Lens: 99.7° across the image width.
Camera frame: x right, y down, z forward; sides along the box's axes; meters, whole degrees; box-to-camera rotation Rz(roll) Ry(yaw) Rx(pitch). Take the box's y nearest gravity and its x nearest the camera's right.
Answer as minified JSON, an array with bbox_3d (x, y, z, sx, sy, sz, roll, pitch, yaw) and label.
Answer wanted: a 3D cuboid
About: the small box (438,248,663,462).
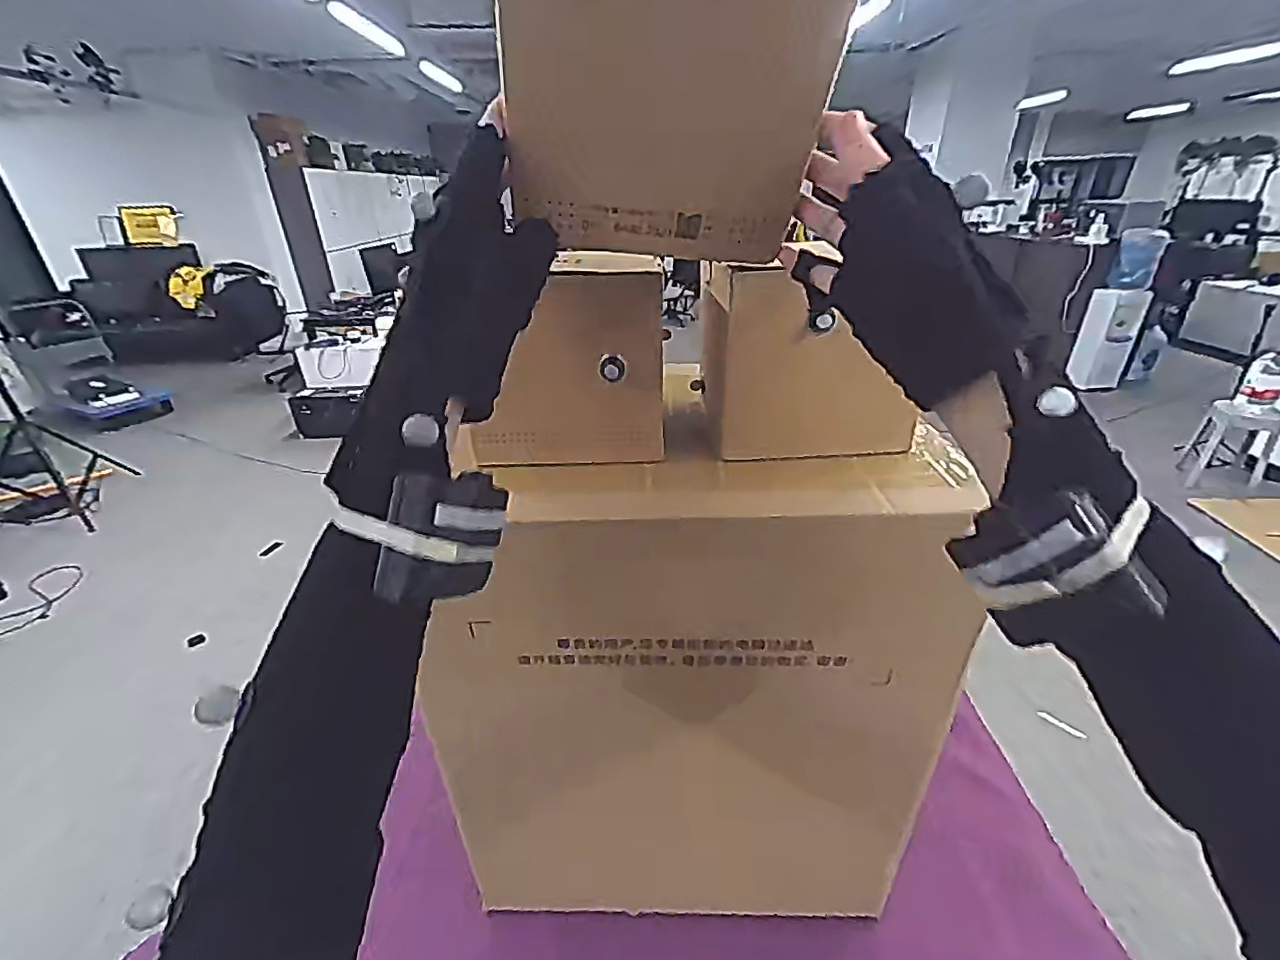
[{"bbox_3d":[-0.071,-0.125,0.524,0.179,0.176,0.168,-2,27,-1],"label":"small box"}]

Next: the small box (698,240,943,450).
[{"bbox_3d":[0.152,-0.134,0.525,0.179,0.176,0.168,-3,28,-2],"label":"small box"}]

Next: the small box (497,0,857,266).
[{"bbox_3d":[0.009,-0.255,0.322,0.168,0.176,0.179,3,51,-6],"label":"small box"}]
